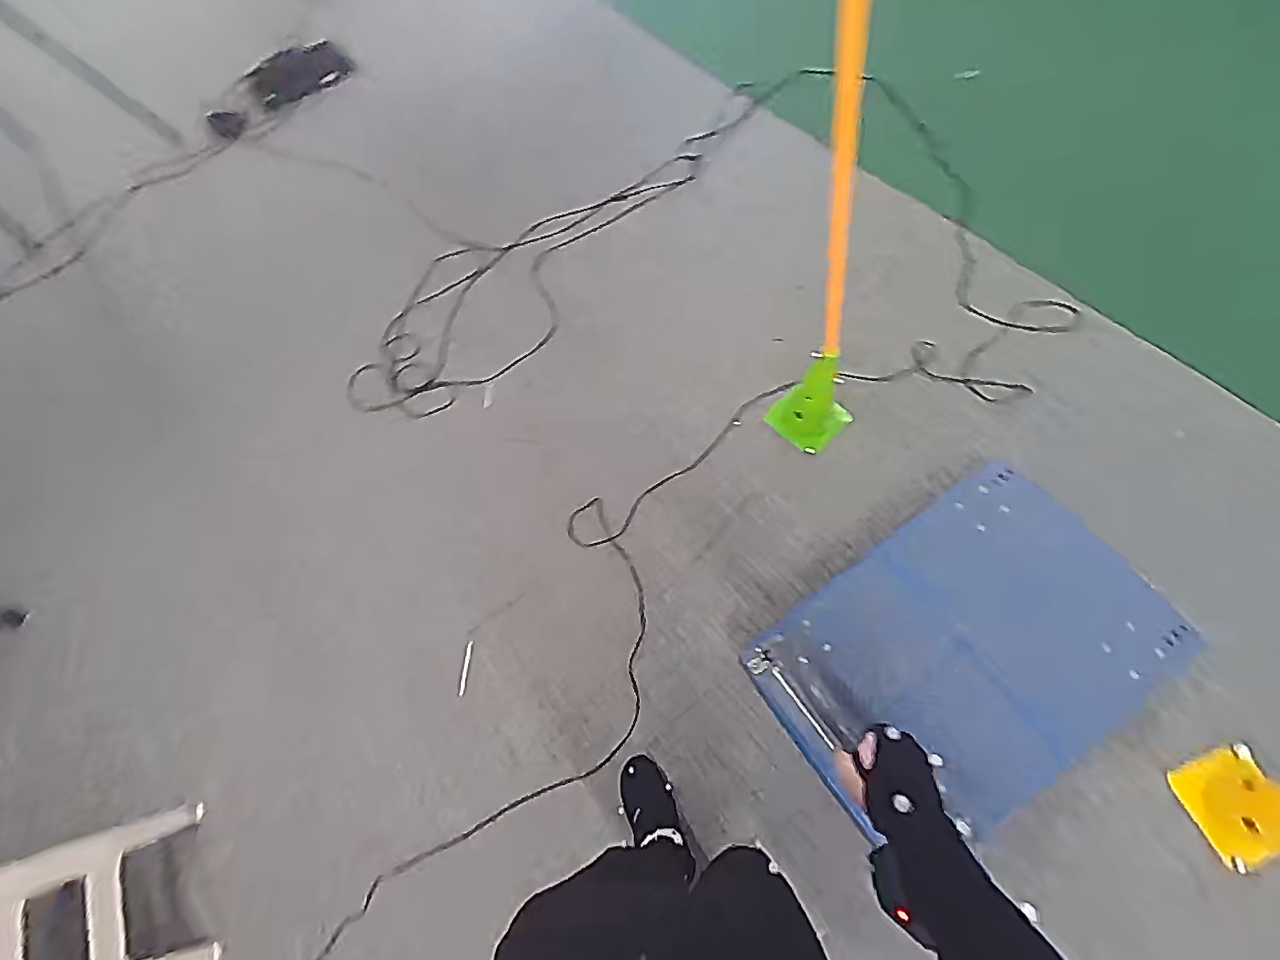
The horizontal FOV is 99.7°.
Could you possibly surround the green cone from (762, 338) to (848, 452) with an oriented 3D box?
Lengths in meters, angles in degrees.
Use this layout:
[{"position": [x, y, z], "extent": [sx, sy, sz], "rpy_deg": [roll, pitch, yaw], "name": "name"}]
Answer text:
[{"position": [0.490, -0.270, 1.524], "extent": [0.200, 0.368, 0.202], "rpy_deg": [-43, 68, -12], "name": "green cone"}]
